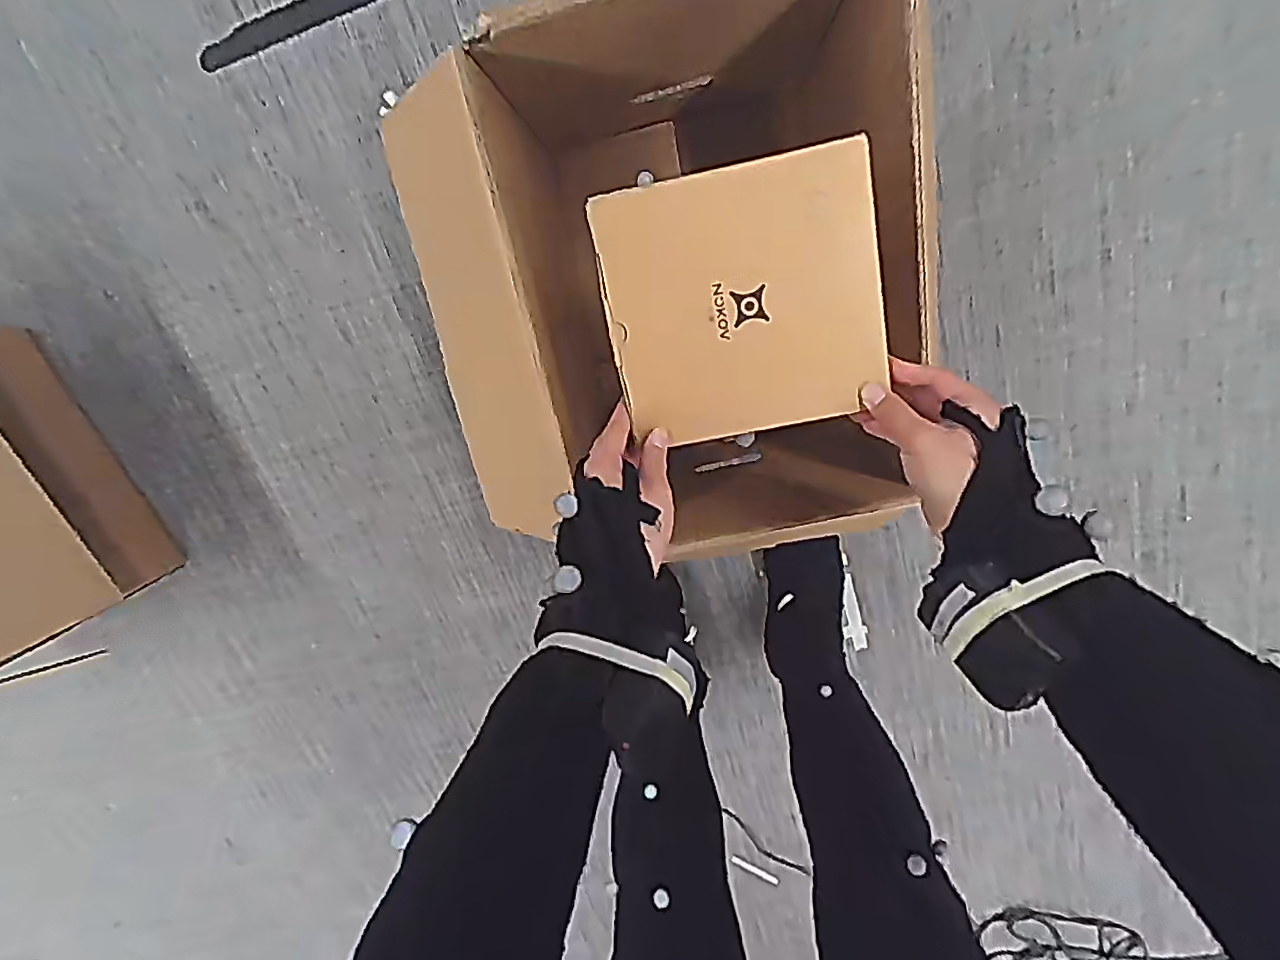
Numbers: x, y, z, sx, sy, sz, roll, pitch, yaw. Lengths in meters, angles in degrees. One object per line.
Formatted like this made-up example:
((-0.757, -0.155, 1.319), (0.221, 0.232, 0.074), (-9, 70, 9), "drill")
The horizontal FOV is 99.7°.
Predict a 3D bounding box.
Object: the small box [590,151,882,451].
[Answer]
((0.071, -0.132, 0.436), (0.179, 0.176, 0.168), (-10, 103, 7), "small box")
